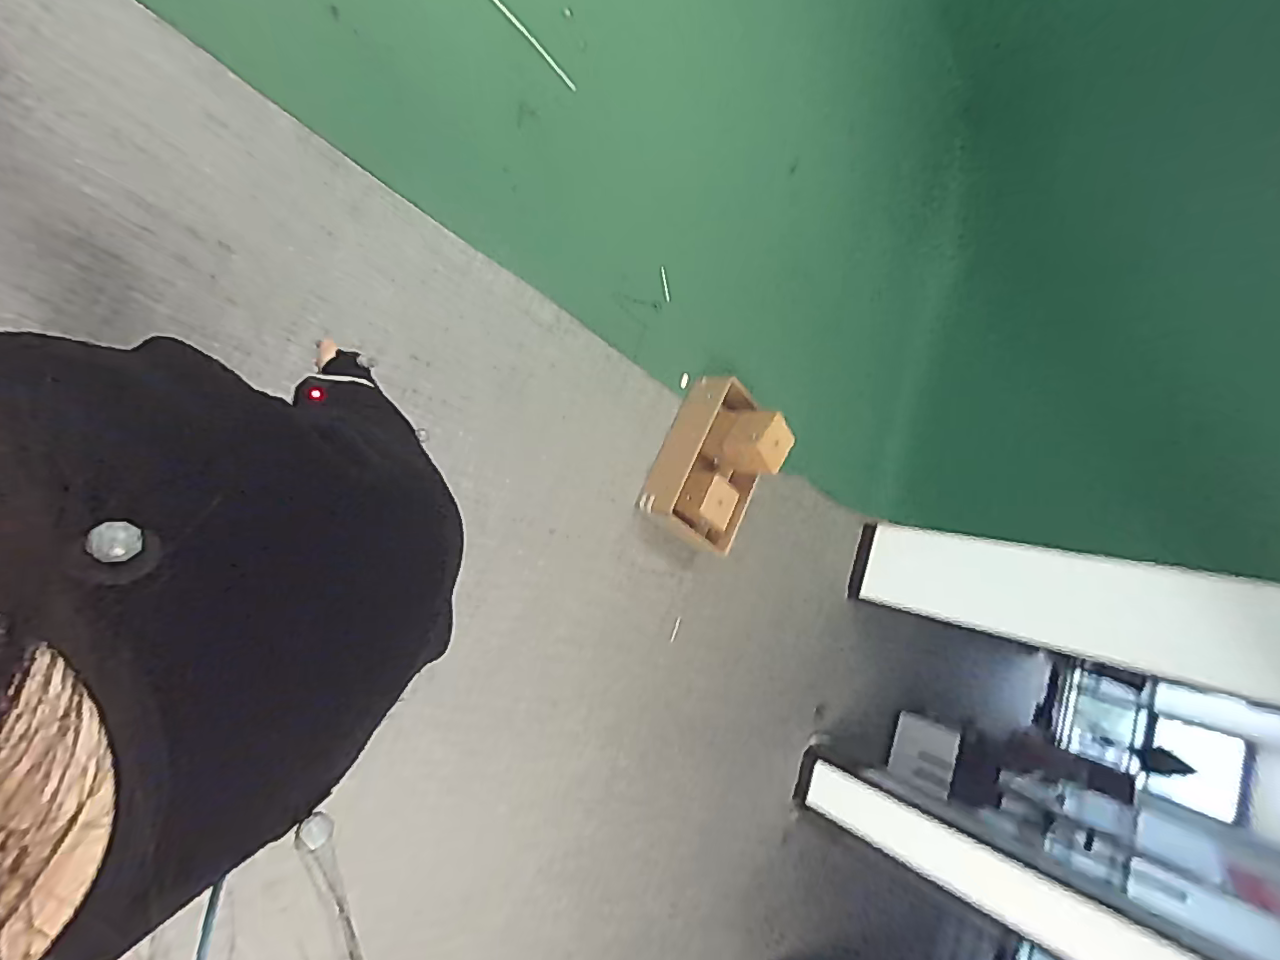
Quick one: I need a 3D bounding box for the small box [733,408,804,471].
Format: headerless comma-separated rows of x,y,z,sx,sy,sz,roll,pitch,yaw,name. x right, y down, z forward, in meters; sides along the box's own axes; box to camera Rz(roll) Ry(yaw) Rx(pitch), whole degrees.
0.483,-0.159,2.043,0.168,0.176,0.179,49,67,-34,small box
